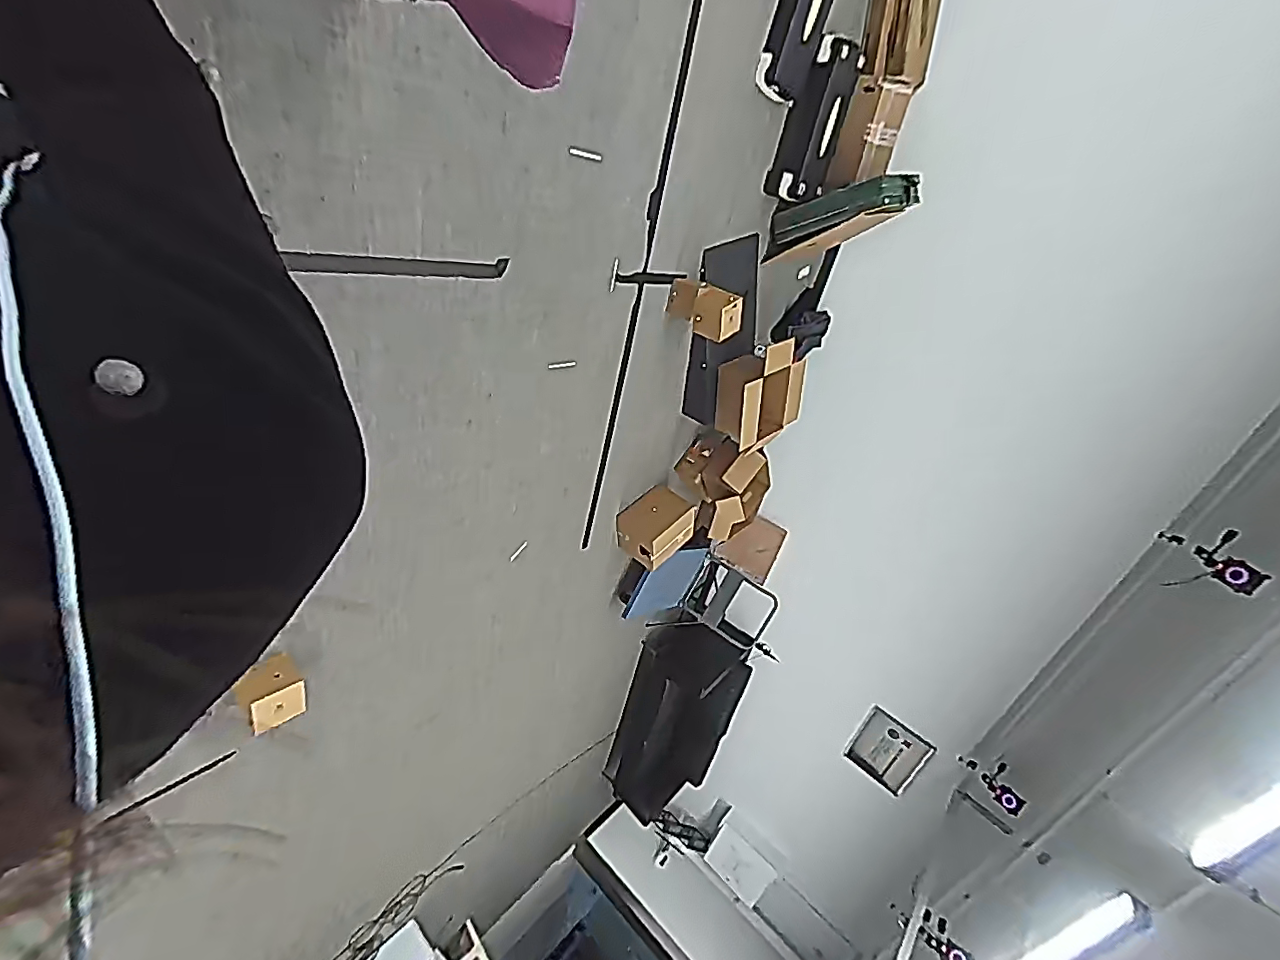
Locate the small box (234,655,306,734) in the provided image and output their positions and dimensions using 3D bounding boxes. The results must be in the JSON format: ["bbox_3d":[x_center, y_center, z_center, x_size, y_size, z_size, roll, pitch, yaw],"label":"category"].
[{"bbox_3d":[-1.333,0.762,1.949,0.168,0.176,0.179,-21,136,-48],"label":"small box"}]

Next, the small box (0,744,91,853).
[{"bbox_3d":[-1.692,0.881,1.518,0.168,0.176,0.179,-18,134,-48],"label":"small box"}]
